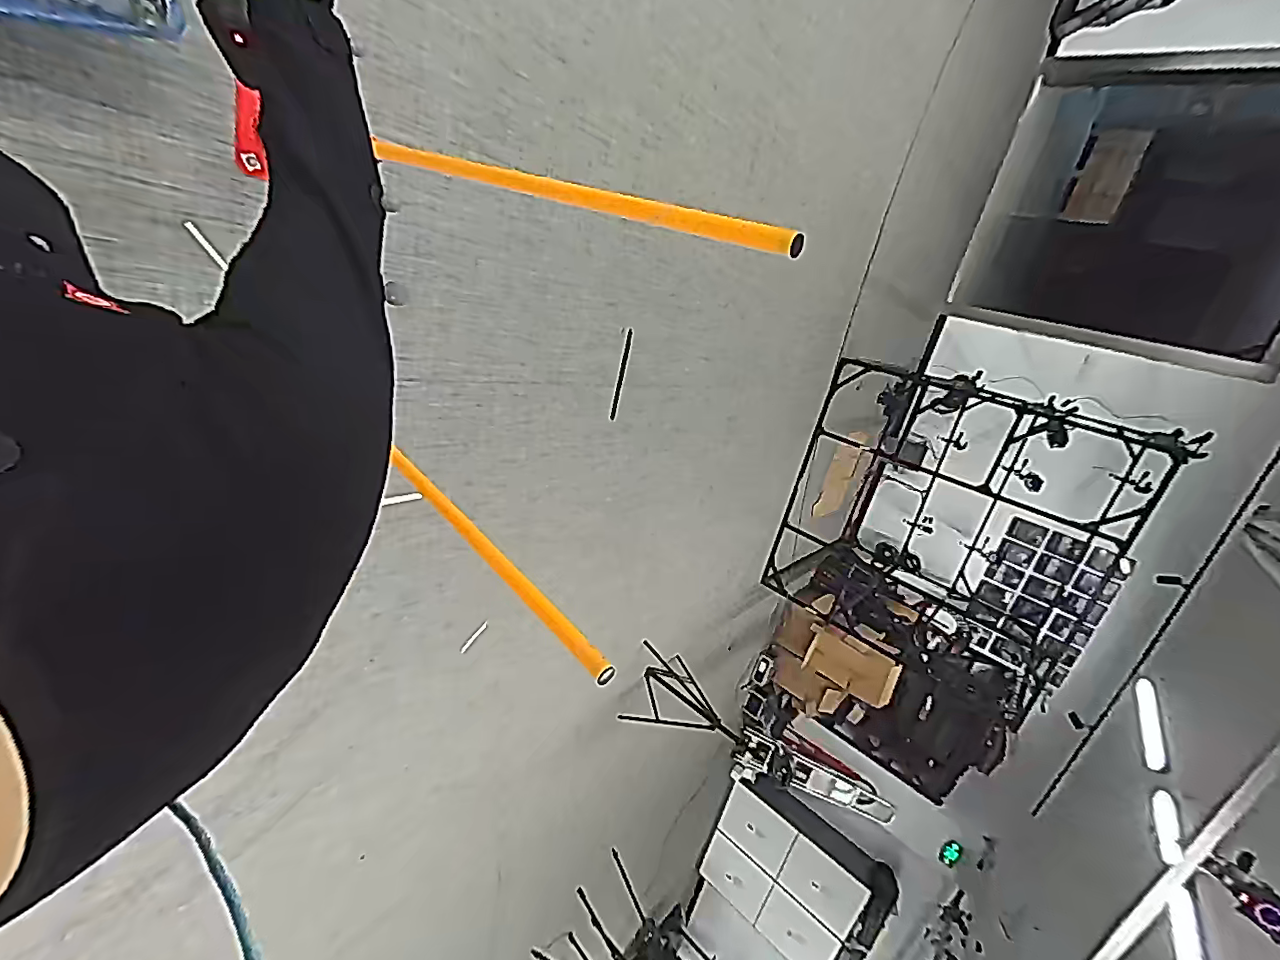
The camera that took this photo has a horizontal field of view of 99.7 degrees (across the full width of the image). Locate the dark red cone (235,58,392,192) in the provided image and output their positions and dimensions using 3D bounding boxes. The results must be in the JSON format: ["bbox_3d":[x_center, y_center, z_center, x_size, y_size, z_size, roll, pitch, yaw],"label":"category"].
[{"bbox_3d":[-0.601,-0.670,1.045,0.201,0.394,0.202,-12,123,-52],"label":"dark red cone"}]
